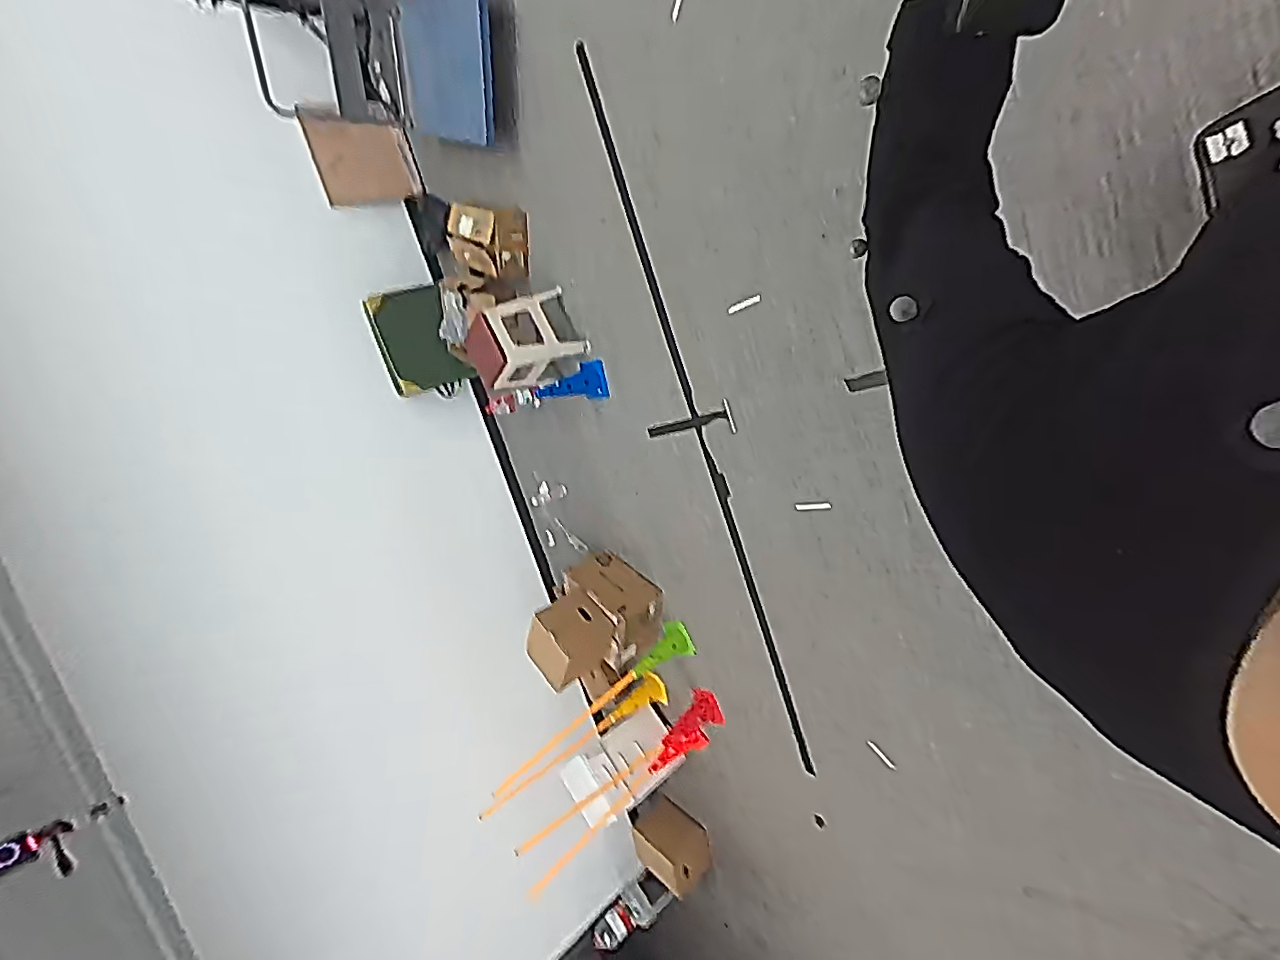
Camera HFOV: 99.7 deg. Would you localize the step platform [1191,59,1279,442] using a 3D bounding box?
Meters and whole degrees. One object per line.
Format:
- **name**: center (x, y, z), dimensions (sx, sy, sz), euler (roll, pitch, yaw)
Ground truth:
- **step platform**: center (1.231, -0.405, 0.940), dimensions (0.286, 0.204, 0.684), euler (-13, 97, 53)
